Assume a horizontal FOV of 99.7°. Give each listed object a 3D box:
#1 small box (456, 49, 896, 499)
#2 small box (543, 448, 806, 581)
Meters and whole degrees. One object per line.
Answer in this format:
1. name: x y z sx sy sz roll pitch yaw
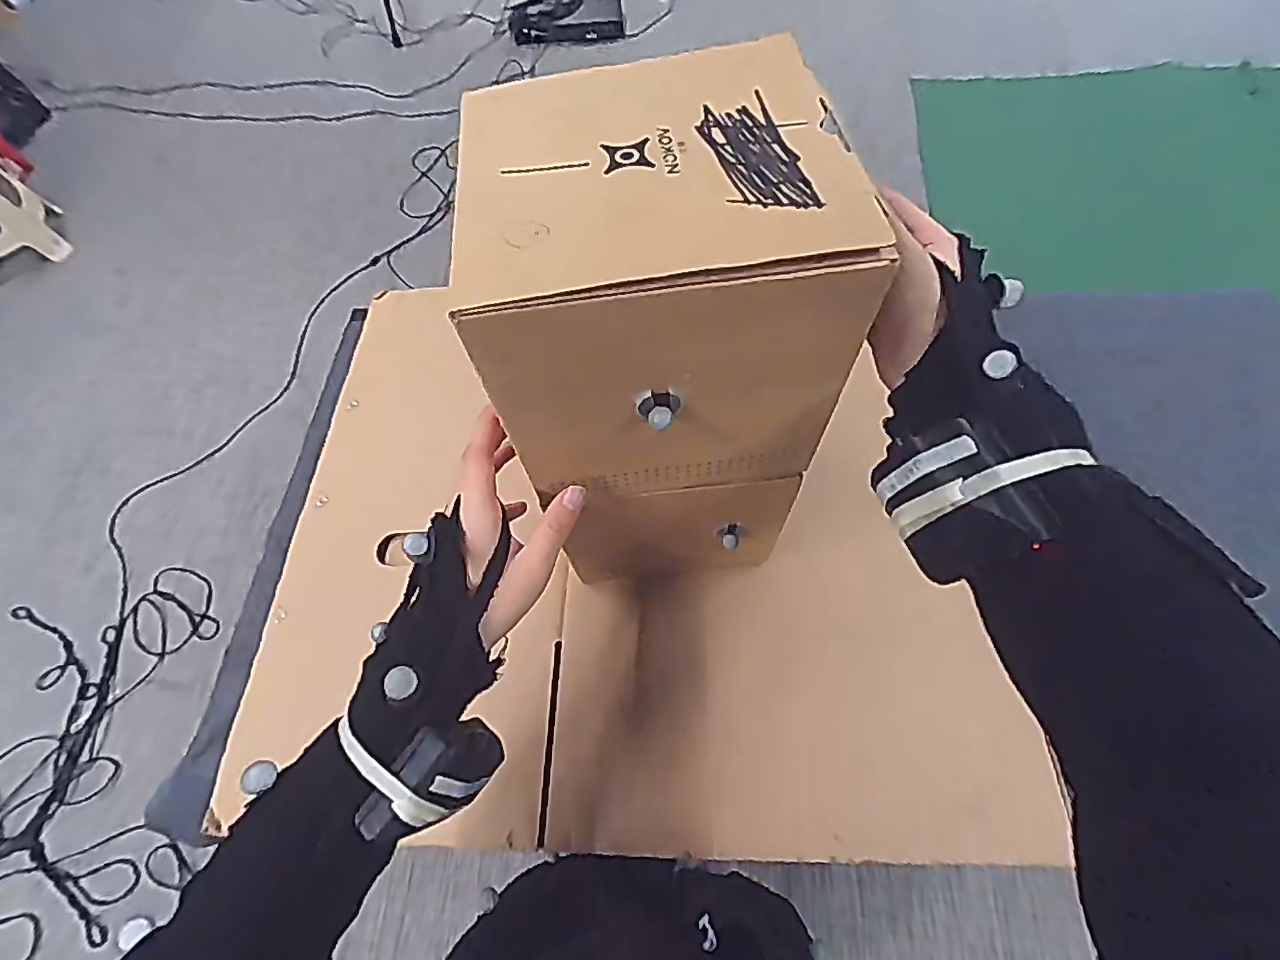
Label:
1. small box: 0.011 -0.104 0.316 0.179 0.176 0.168 -8 61 1
2. small box: 0.021 -0.024 0.459 0.179 0.176 0.168 -7 61 1
